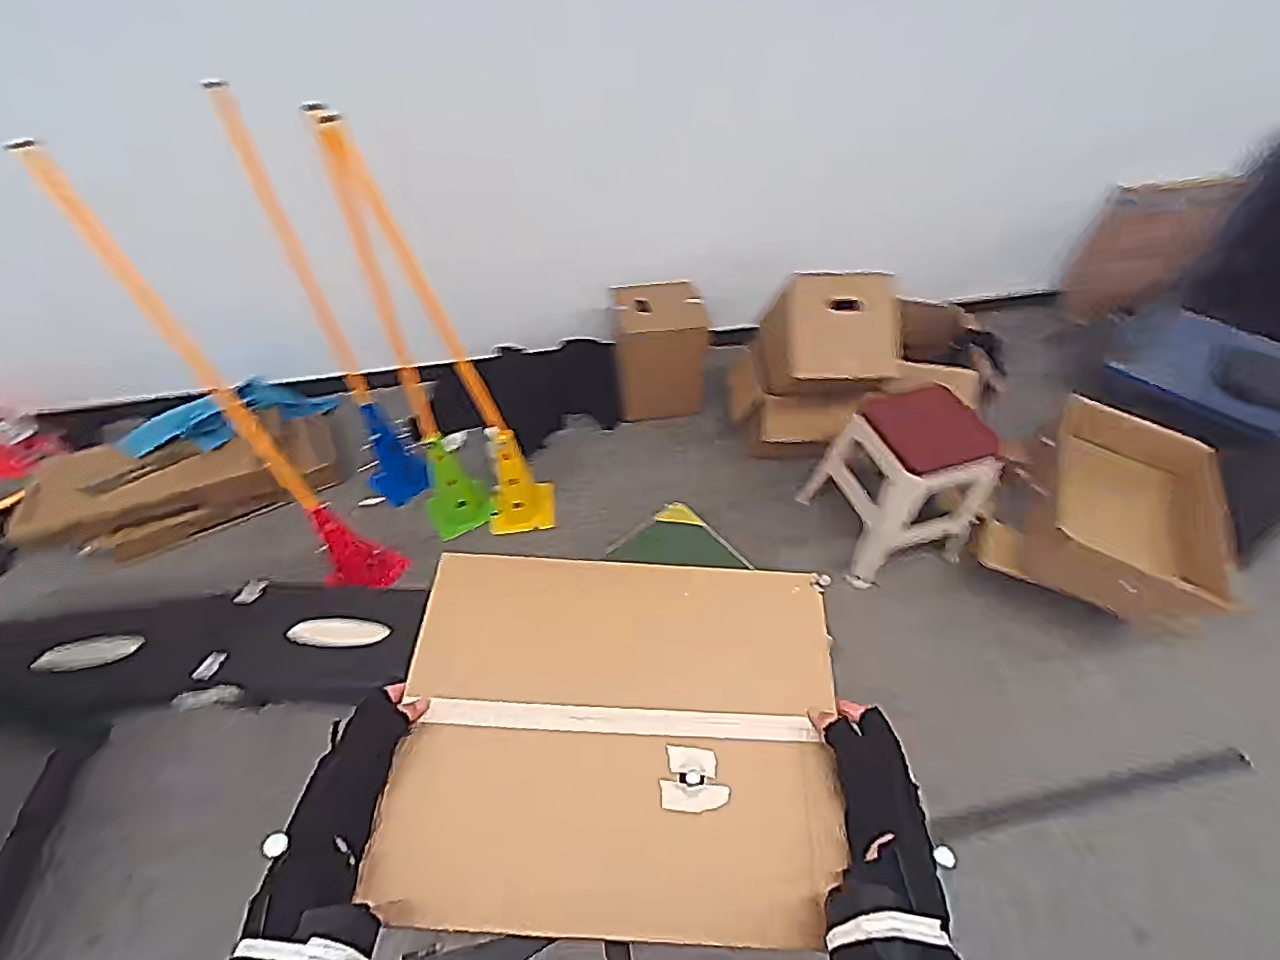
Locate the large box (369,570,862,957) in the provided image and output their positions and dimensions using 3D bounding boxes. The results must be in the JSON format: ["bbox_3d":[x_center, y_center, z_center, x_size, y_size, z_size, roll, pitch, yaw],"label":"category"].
[{"bbox_3d":[-0.019,0.317,0.632,0.408,0.320,0.320,4,58,0],"label":"large box"}]
